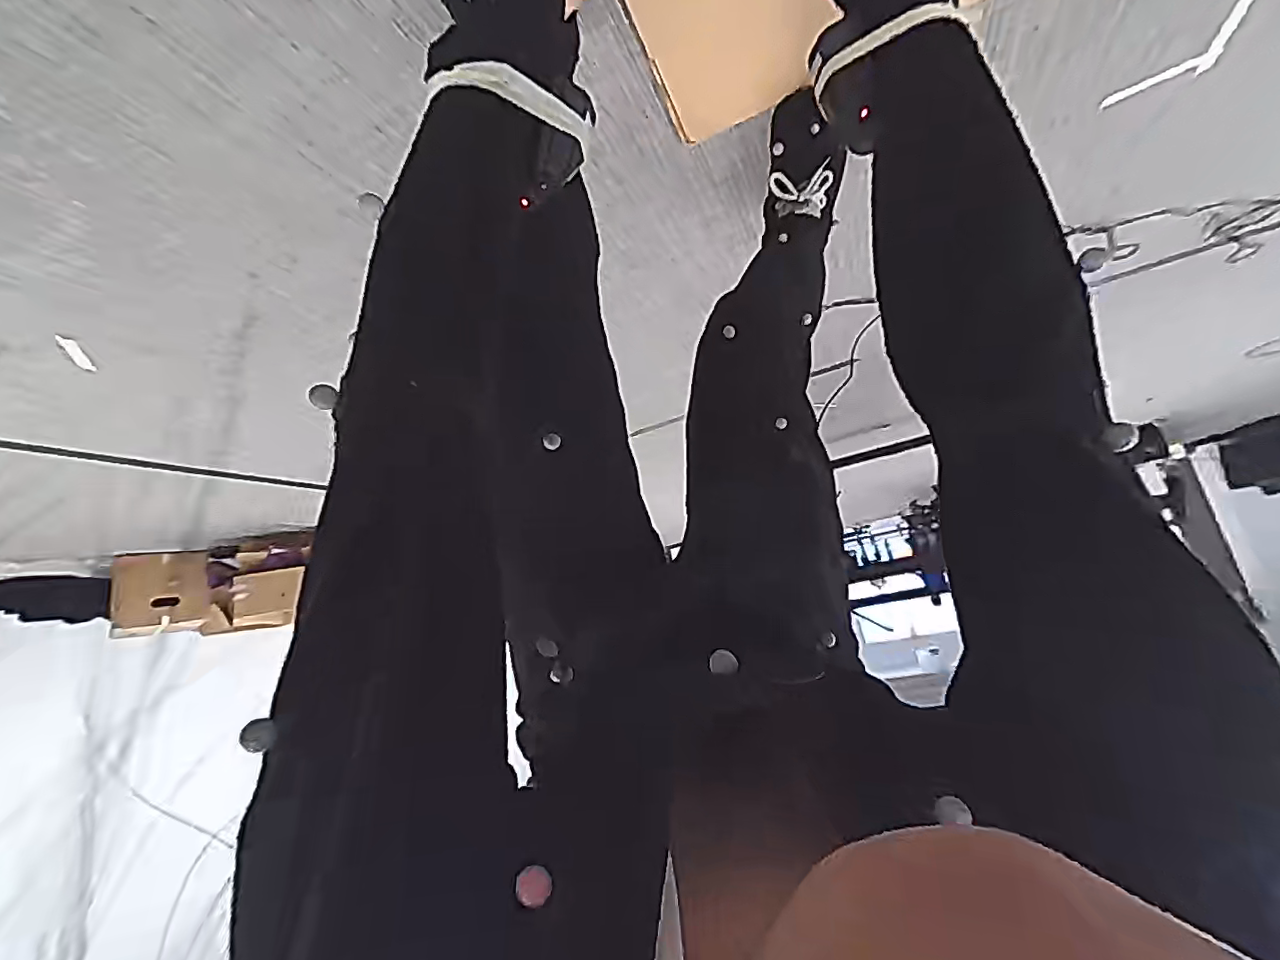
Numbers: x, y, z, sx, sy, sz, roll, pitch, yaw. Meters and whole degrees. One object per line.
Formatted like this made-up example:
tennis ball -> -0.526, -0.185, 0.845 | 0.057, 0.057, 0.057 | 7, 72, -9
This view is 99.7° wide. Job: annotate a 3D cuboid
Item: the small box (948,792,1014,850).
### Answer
small box -> 1.348, 1.335, 2.151 | 0.168, 0.176, 0.179 | -16, 168, 19
